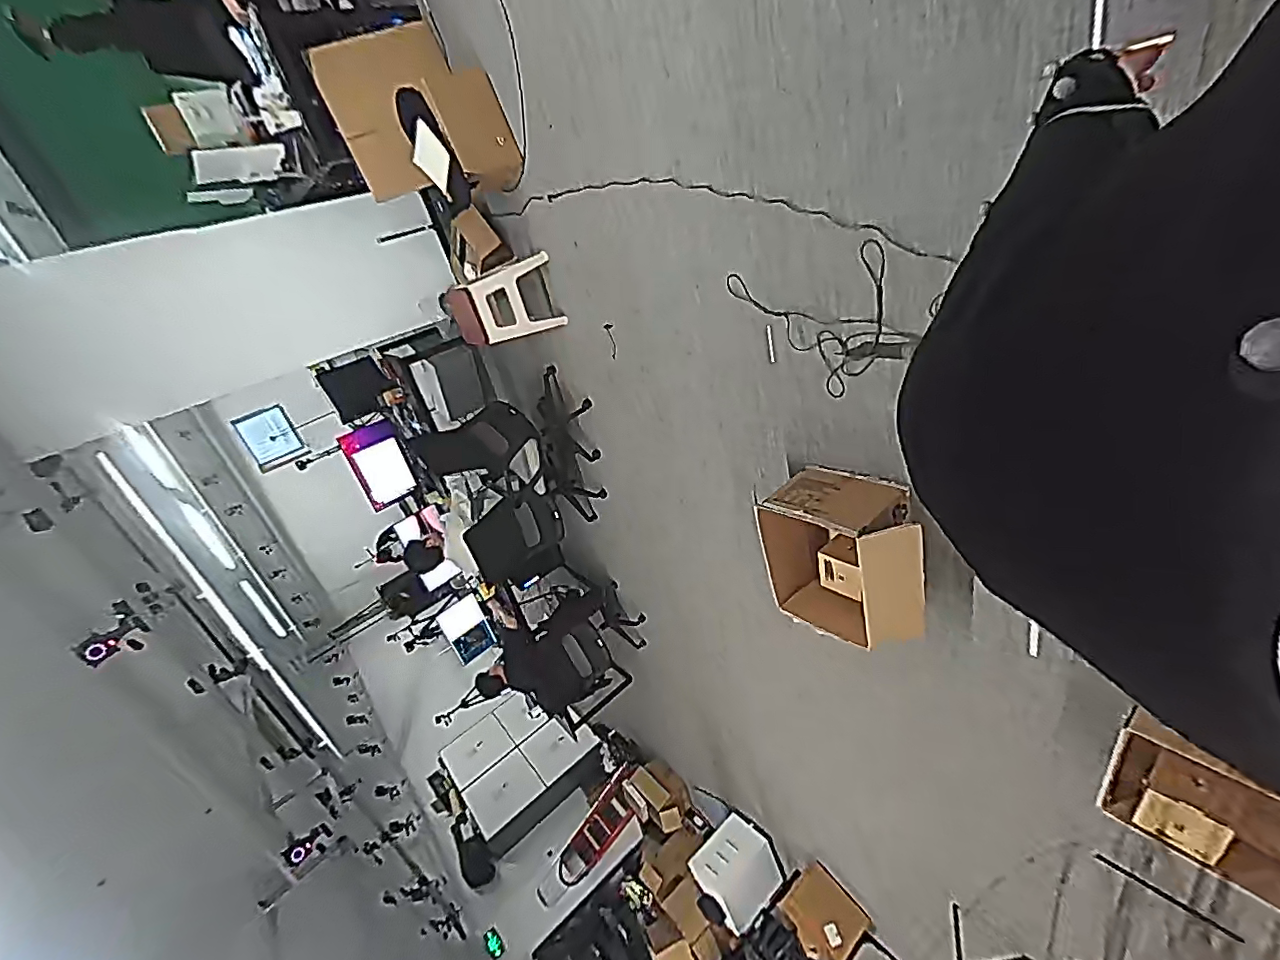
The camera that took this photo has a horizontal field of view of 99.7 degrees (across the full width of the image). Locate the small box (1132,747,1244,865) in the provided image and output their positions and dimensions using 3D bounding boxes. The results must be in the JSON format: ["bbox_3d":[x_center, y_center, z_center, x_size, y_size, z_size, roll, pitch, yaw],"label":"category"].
[{"bbox_3d":[1.466,0.862,1.447,0.168,0.176,0.179,24,135,46],"label":"small box"}]
